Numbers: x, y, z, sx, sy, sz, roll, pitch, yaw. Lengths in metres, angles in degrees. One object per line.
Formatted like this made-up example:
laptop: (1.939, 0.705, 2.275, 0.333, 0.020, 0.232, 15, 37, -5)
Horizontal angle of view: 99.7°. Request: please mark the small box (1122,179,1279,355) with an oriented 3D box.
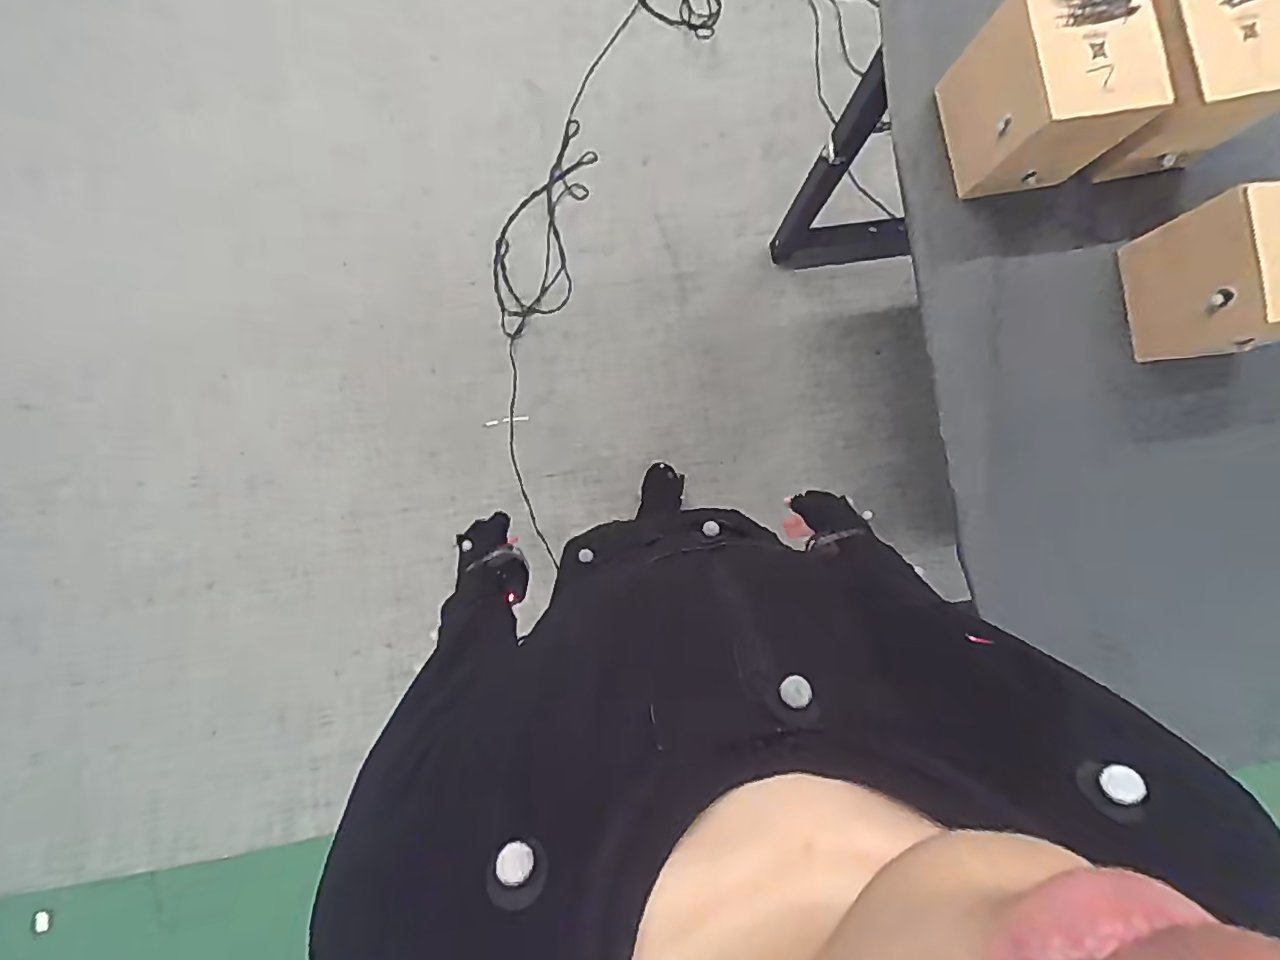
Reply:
small box: (0.804, -0.273, 0.723, 0.168, 0.176, 0.179, -6, 87, -3)
